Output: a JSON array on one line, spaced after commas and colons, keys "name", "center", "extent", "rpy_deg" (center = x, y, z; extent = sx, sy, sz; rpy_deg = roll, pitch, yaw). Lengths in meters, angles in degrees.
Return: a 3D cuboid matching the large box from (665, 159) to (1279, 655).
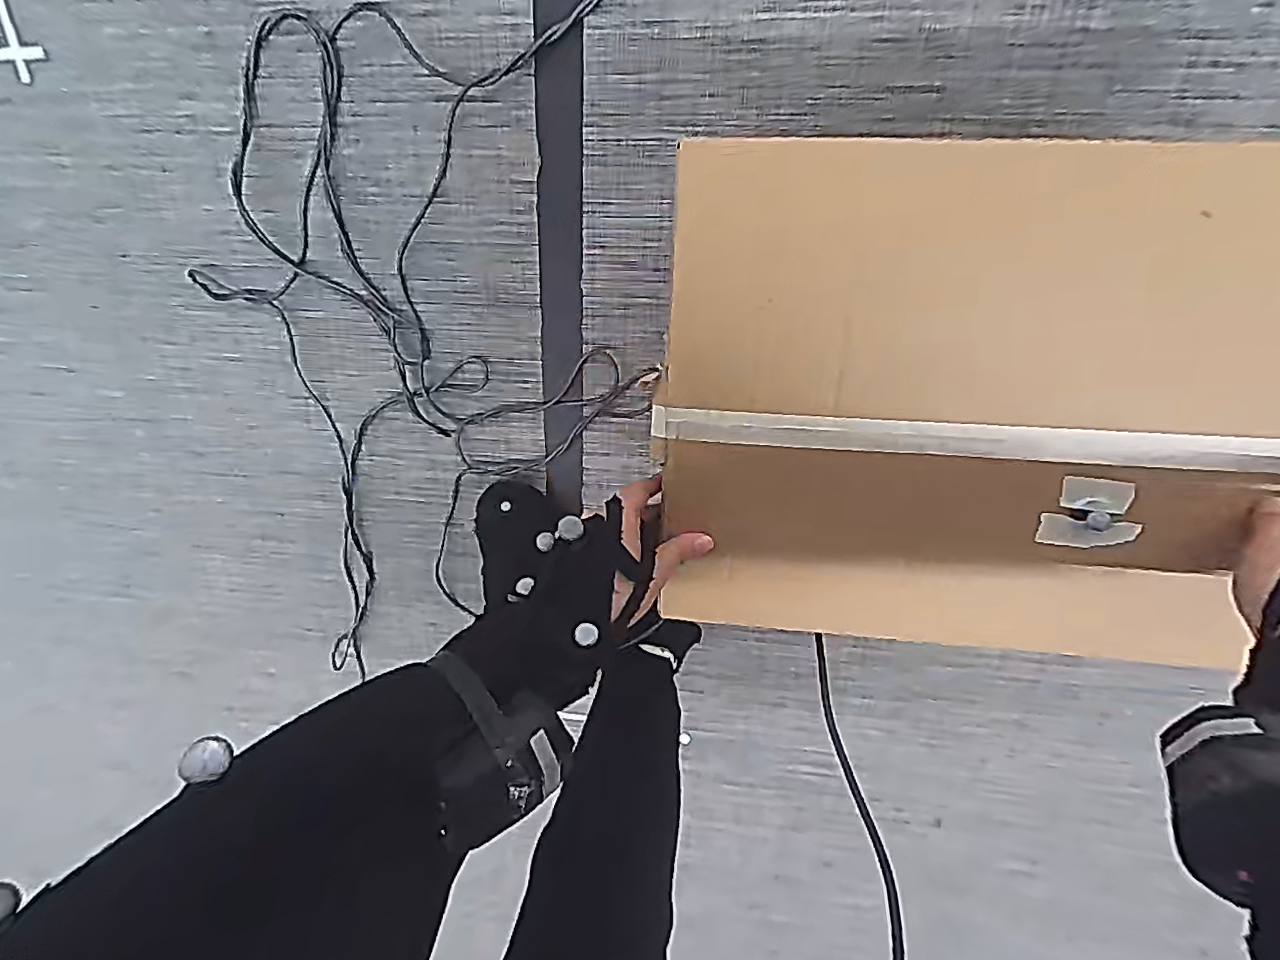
[{"name": "large box", "center": [0.229, -0.080, 0.478], "extent": [0.408, 0.320, 0.320], "rpy_deg": [3, 113, 4]}]
